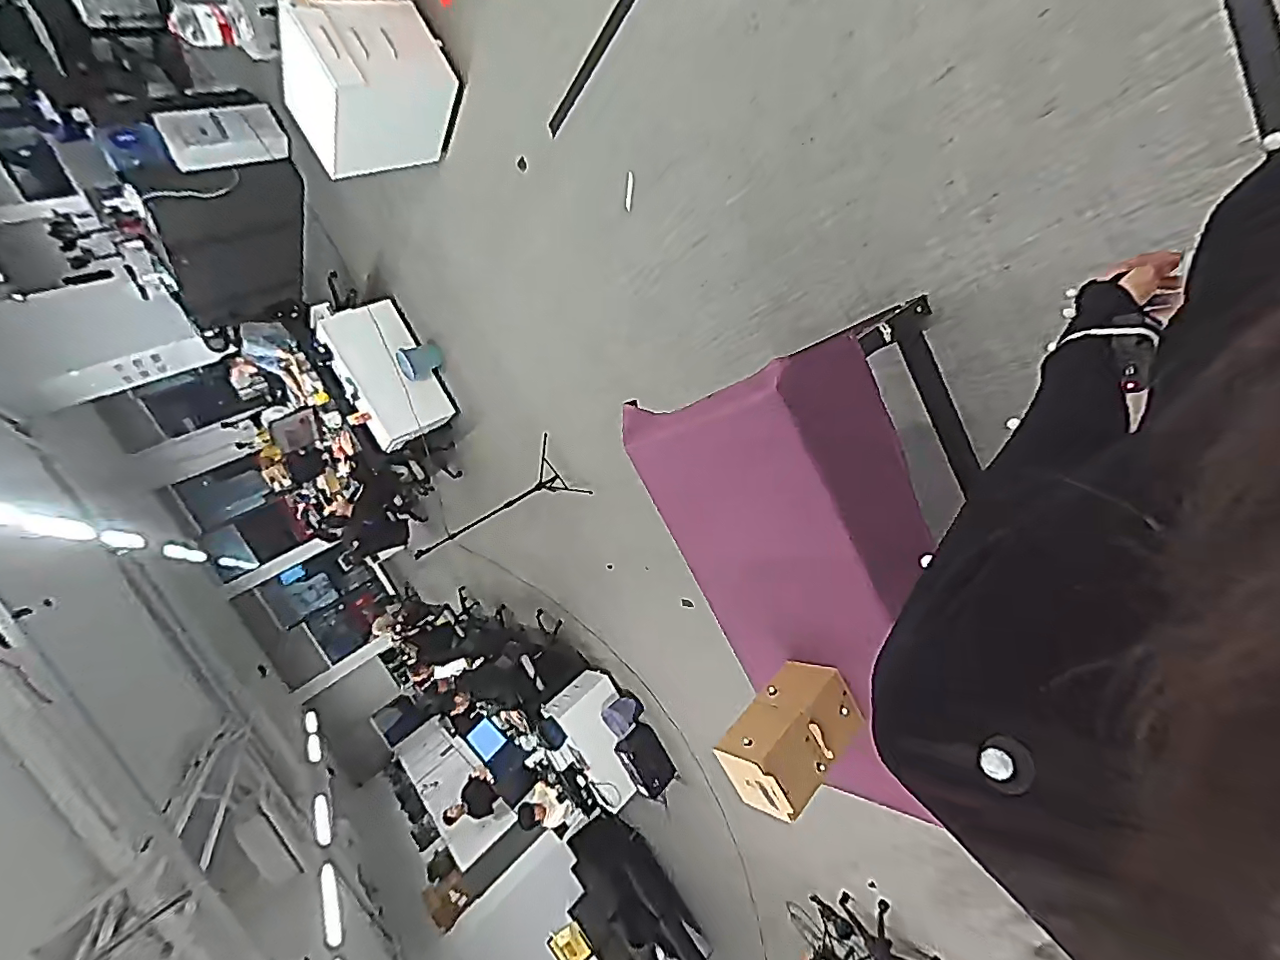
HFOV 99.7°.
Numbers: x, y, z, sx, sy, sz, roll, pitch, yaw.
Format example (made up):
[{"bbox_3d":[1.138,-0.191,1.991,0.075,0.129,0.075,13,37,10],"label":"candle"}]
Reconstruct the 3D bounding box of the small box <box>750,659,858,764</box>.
[{"bbox_3d":[0.426,0.588,1.401,0.179,0.176,0.168,-15,106,56],"label":"small box"}]

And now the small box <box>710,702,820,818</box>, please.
[{"bbox_3d":[0.310,0.666,1.314,0.168,0.176,0.179,60,148,-5],"label":"small box"}]
